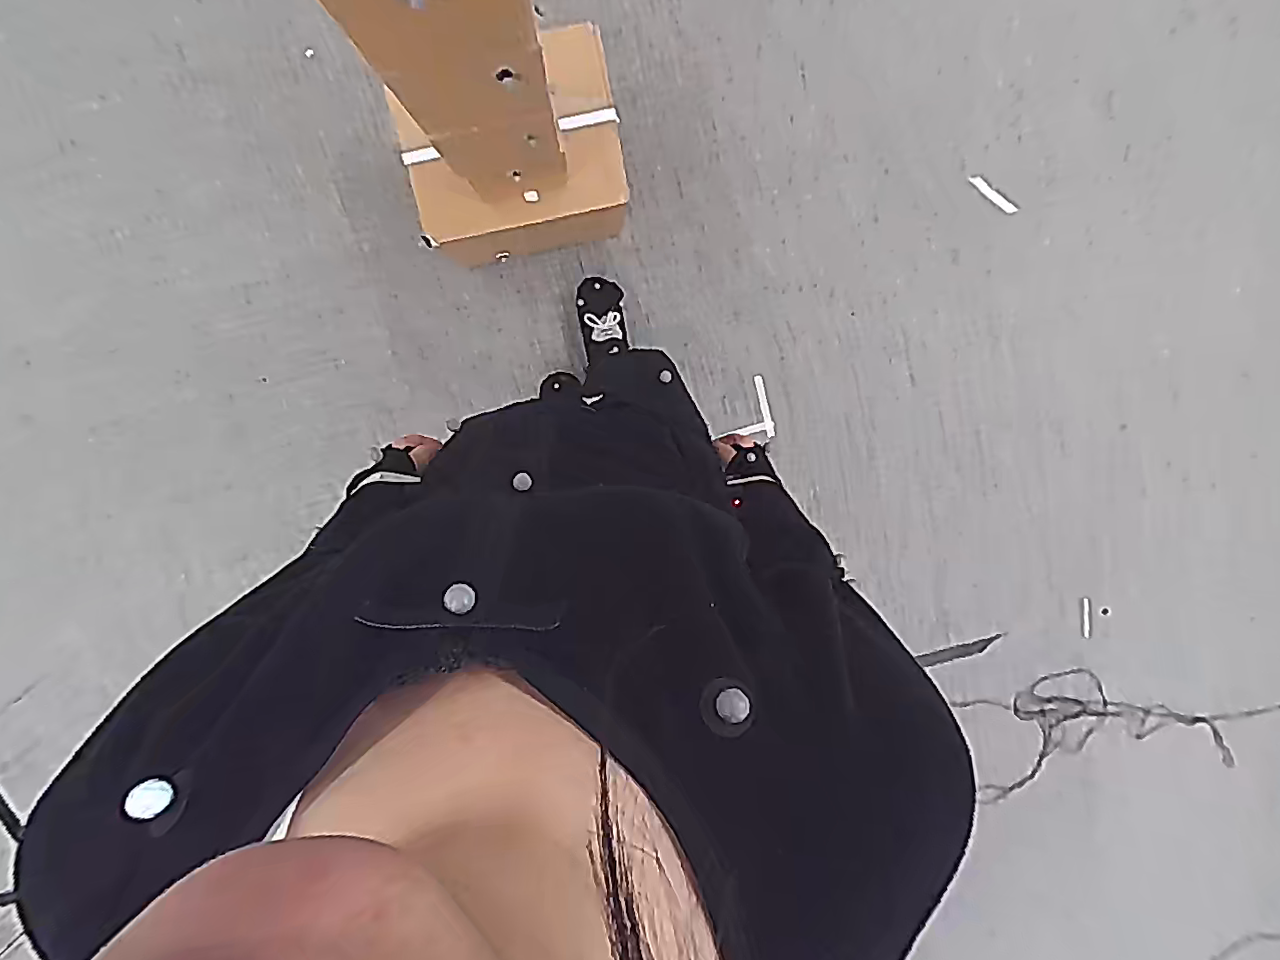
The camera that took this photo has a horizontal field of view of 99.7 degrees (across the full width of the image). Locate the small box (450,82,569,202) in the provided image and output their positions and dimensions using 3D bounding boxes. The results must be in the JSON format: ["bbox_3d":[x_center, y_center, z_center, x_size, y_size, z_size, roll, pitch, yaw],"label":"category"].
[{"bbox_3d":[-0.230,-0.608,0.944,0.179,0.176,0.168,-15,105,-2],"label":"small box"}]

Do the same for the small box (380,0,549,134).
[{"bbox_3d":[-0.206,-0.531,0.626,0.179,0.176,0.168,-12,104,-2],"label":"small box"}]

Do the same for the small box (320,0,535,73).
[{"bbox_3d":[-0.194,-0.494,0.469,0.179,0.176,0.168,-11,105,-2],"label":"small box"}]
